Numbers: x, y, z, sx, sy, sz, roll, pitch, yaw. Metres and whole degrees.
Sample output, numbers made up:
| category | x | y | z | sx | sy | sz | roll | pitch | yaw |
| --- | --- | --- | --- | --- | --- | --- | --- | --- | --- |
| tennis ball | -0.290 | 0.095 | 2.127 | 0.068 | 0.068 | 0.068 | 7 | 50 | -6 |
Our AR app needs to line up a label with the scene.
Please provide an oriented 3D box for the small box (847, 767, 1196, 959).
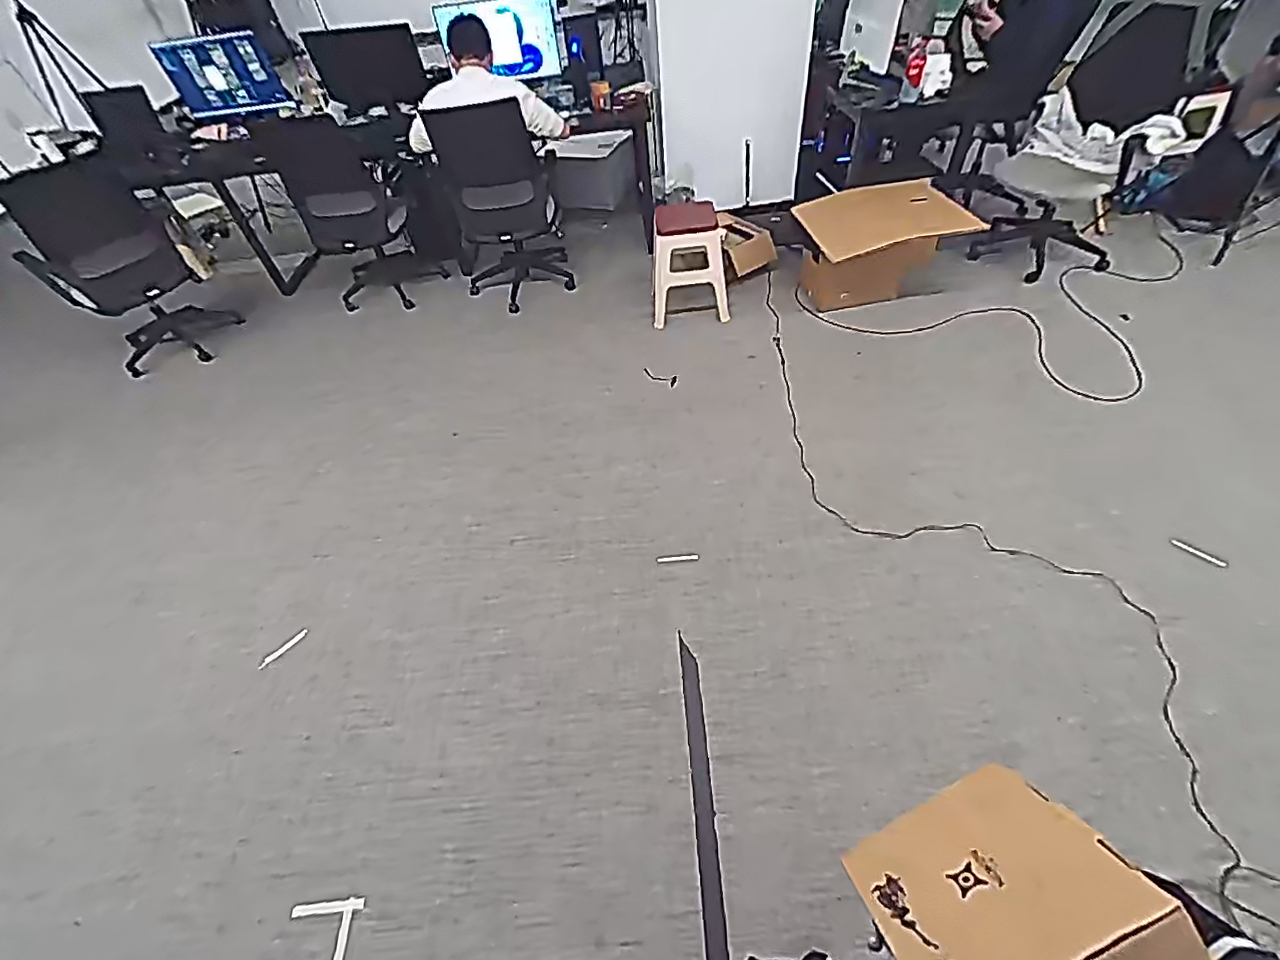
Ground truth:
| category | x | y | z | sx | sy | sz | roll | pitch | yaw |
| --- | --- | --- | --- | --- | --- | --- | --- | --- | --- |
| small box | 0.310 | 0.387 | 0.436 | 0.179 | 0.168 | 0.176 | -30 | 92 | -1 |
